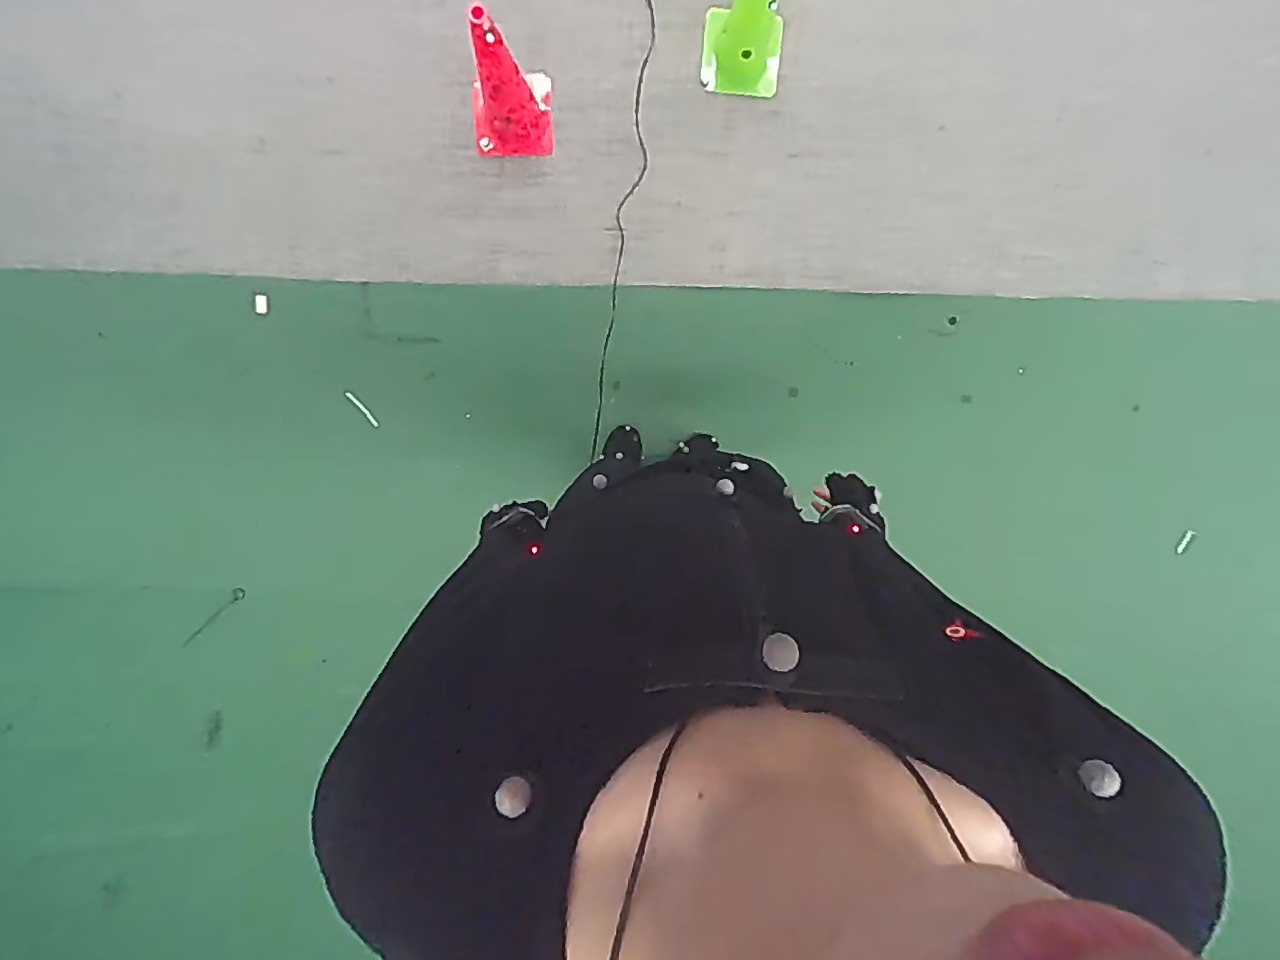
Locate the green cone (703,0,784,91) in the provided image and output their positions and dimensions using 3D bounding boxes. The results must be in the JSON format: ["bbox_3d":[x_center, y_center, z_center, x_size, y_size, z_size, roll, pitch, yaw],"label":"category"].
[{"bbox_3d":[0.271,-1.094,1.220,0.200,0.368,0.202,3,95,-2],"label":"green cone"}]
